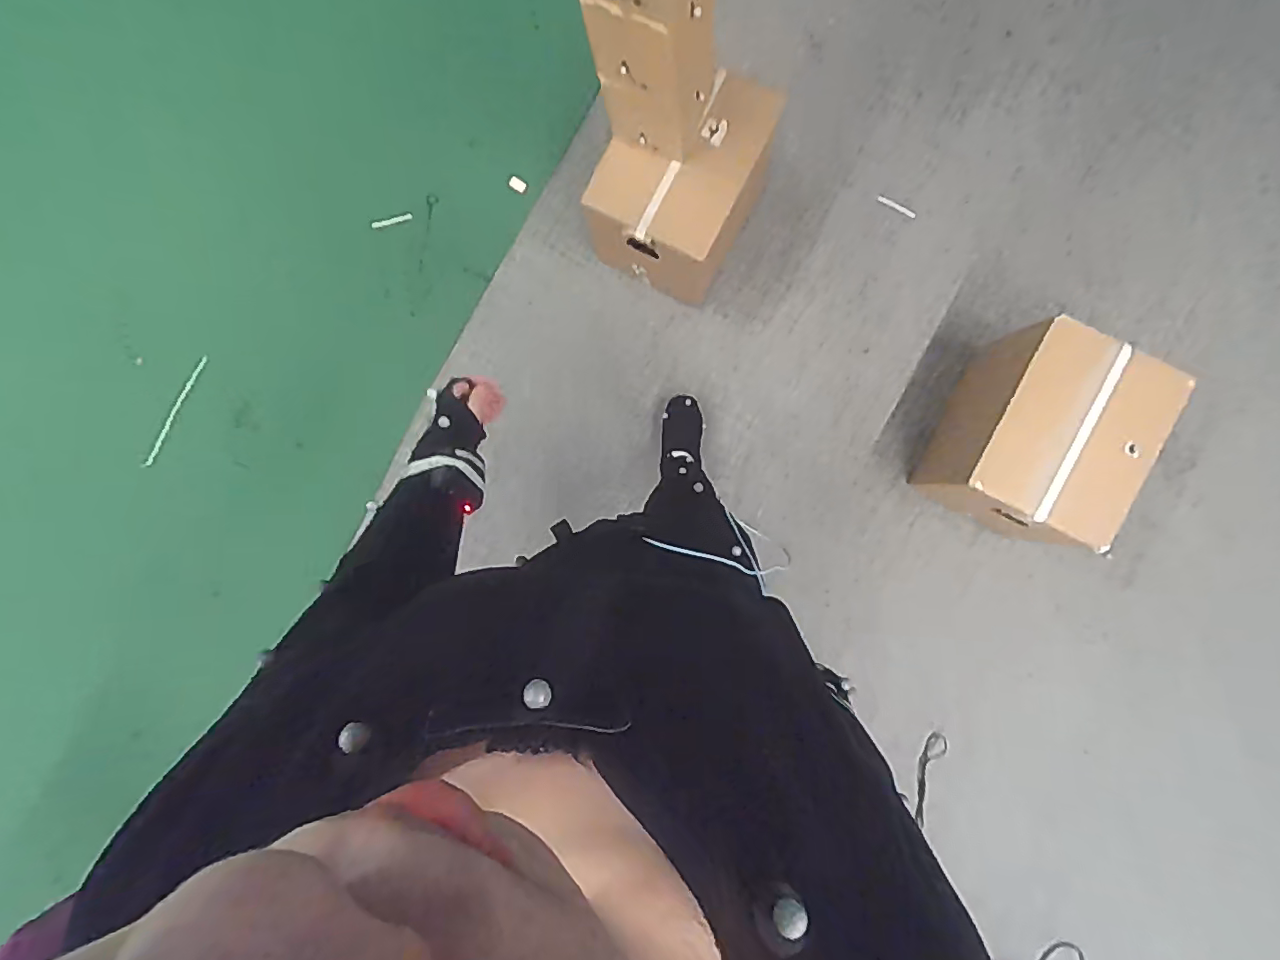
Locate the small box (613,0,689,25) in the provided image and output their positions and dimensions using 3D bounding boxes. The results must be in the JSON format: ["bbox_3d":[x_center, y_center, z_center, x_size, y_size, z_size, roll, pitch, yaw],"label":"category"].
[{"bbox_3d":[0.018,-0.823,0.773,0.168,0.176,0.179,30,93,8],"label":"small box"}]

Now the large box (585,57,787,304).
[{"bbox_3d":[0.111,-0.721,1.337,0.320,0.320,0.408,28,91,5],"label":"large box"}]

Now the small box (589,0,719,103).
[{"bbox_3d":[0.030,-0.815,0.936,0.168,0.176,0.179,28,93,7],"label":"small box"}]
